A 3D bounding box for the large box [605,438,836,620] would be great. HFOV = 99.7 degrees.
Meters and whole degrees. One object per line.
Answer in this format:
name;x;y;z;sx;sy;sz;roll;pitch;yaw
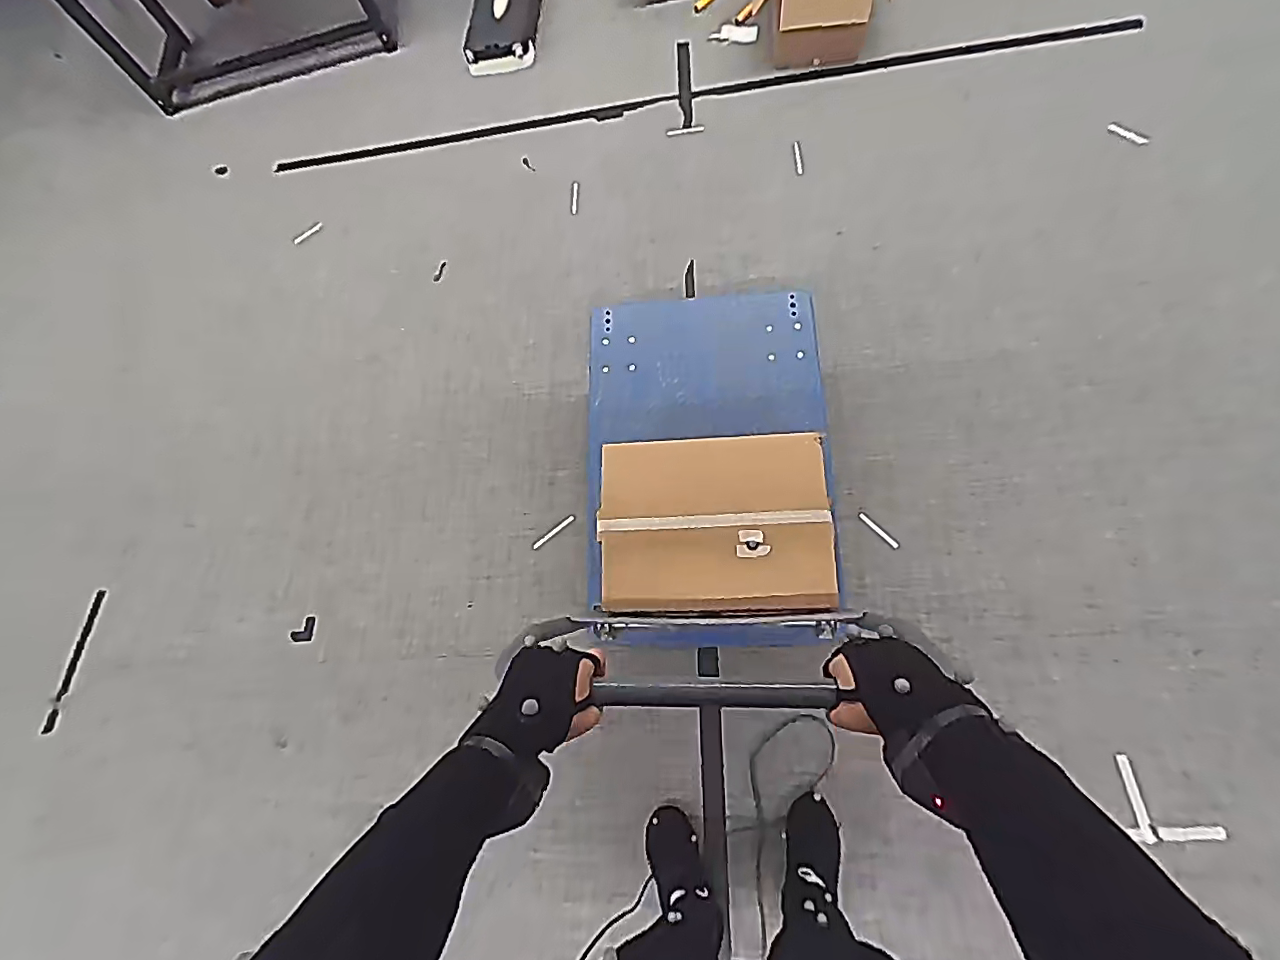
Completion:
large box;0.151;0.122;1.123;0.408;0.320;0.320;-3;75;6
